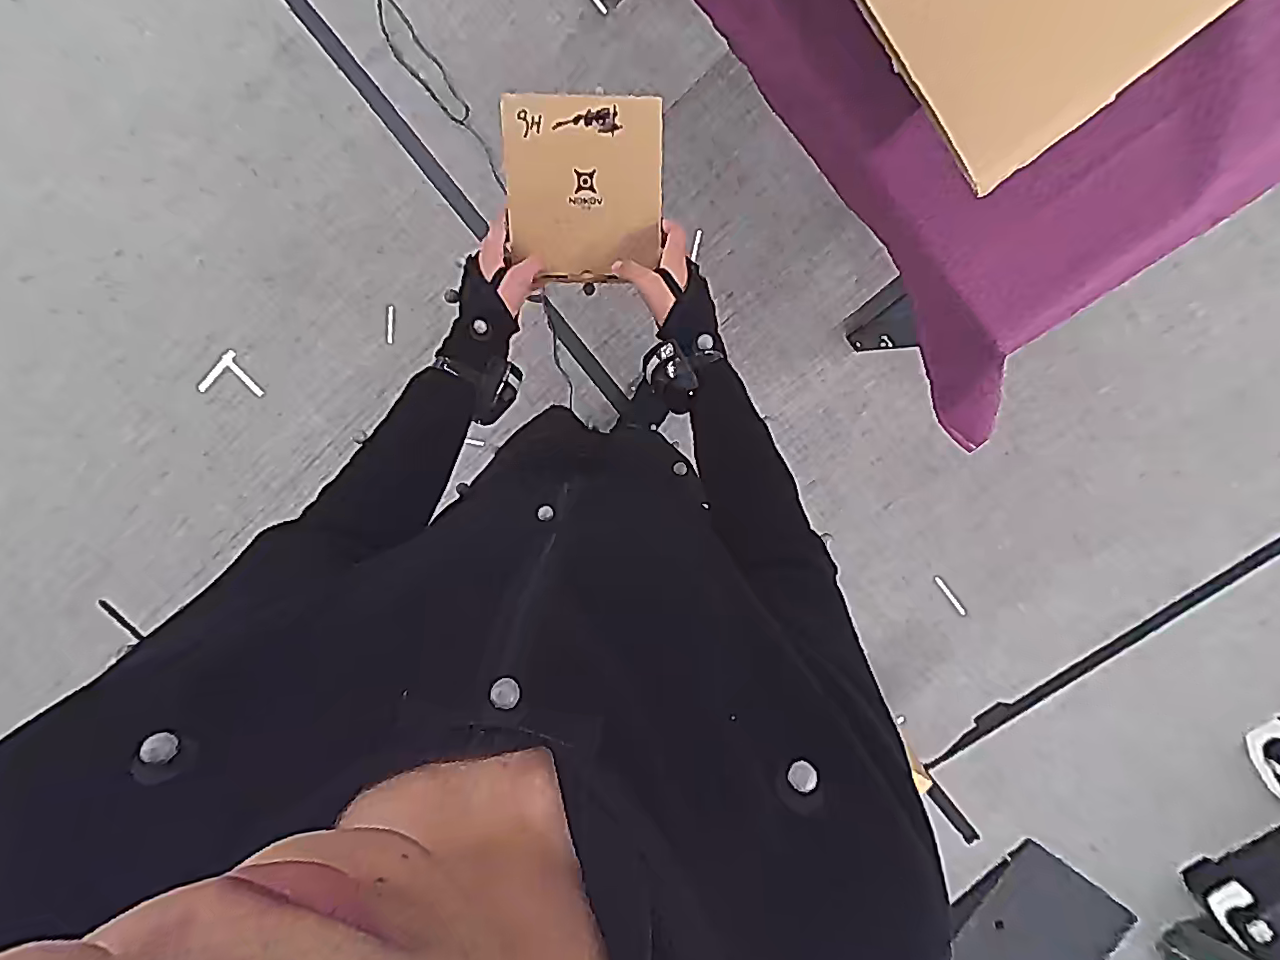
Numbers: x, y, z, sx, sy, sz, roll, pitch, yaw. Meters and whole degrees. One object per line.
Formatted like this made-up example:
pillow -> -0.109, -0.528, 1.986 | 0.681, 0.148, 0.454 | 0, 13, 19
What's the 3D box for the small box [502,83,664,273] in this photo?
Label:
small box -> -0.062, -0.342, 0.647 | 0.168, 0.176, 0.179 | -1, 110, -3
